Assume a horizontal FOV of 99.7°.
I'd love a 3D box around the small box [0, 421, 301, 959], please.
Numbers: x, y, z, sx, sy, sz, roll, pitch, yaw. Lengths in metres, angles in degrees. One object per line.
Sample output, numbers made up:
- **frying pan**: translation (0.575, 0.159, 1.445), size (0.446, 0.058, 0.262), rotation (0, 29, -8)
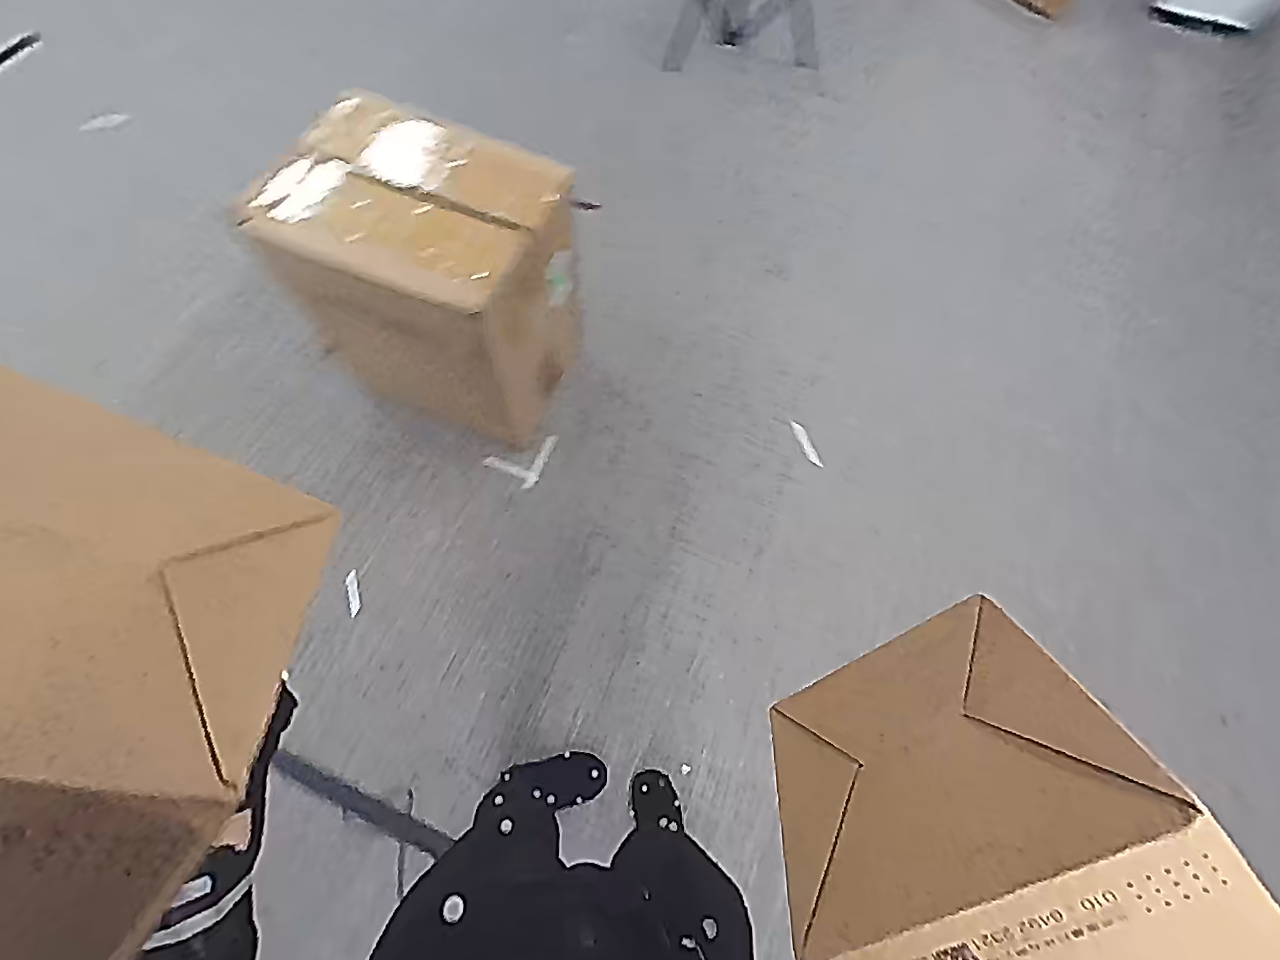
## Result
- **small box**: translation (-0.254, 0.084, 0.197), size (0.168, 0.179, 0.176), rotation (26, 102, -29)
